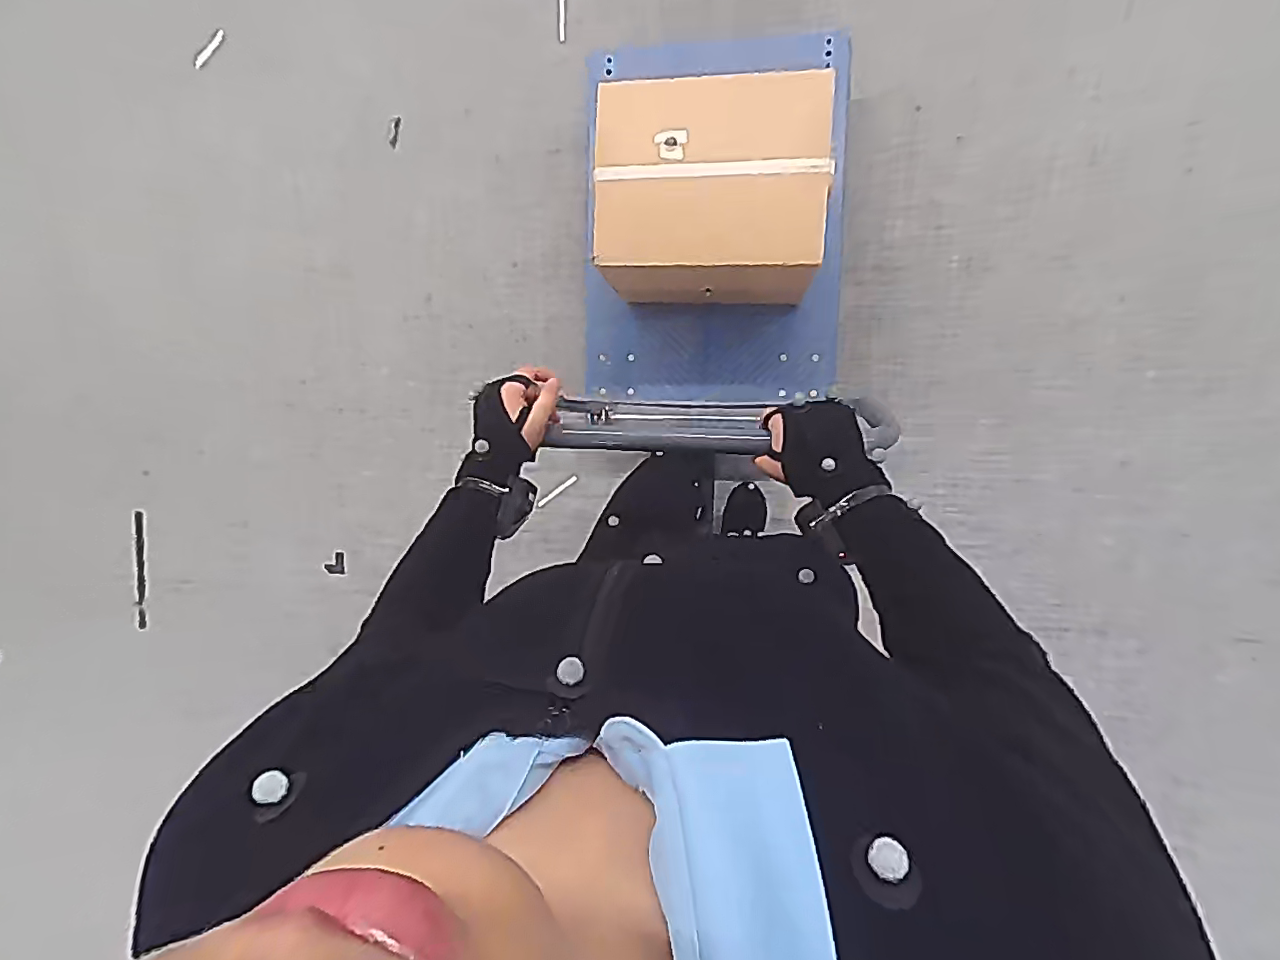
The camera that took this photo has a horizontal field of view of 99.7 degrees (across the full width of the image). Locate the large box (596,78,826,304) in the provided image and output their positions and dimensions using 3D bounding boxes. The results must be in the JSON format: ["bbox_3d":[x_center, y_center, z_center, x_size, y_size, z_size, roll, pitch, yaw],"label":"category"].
[{"bbox_3d":[0.144,-0.548,1.104,0.408,0.320,0.320,3,95,10],"label":"large box"}]
